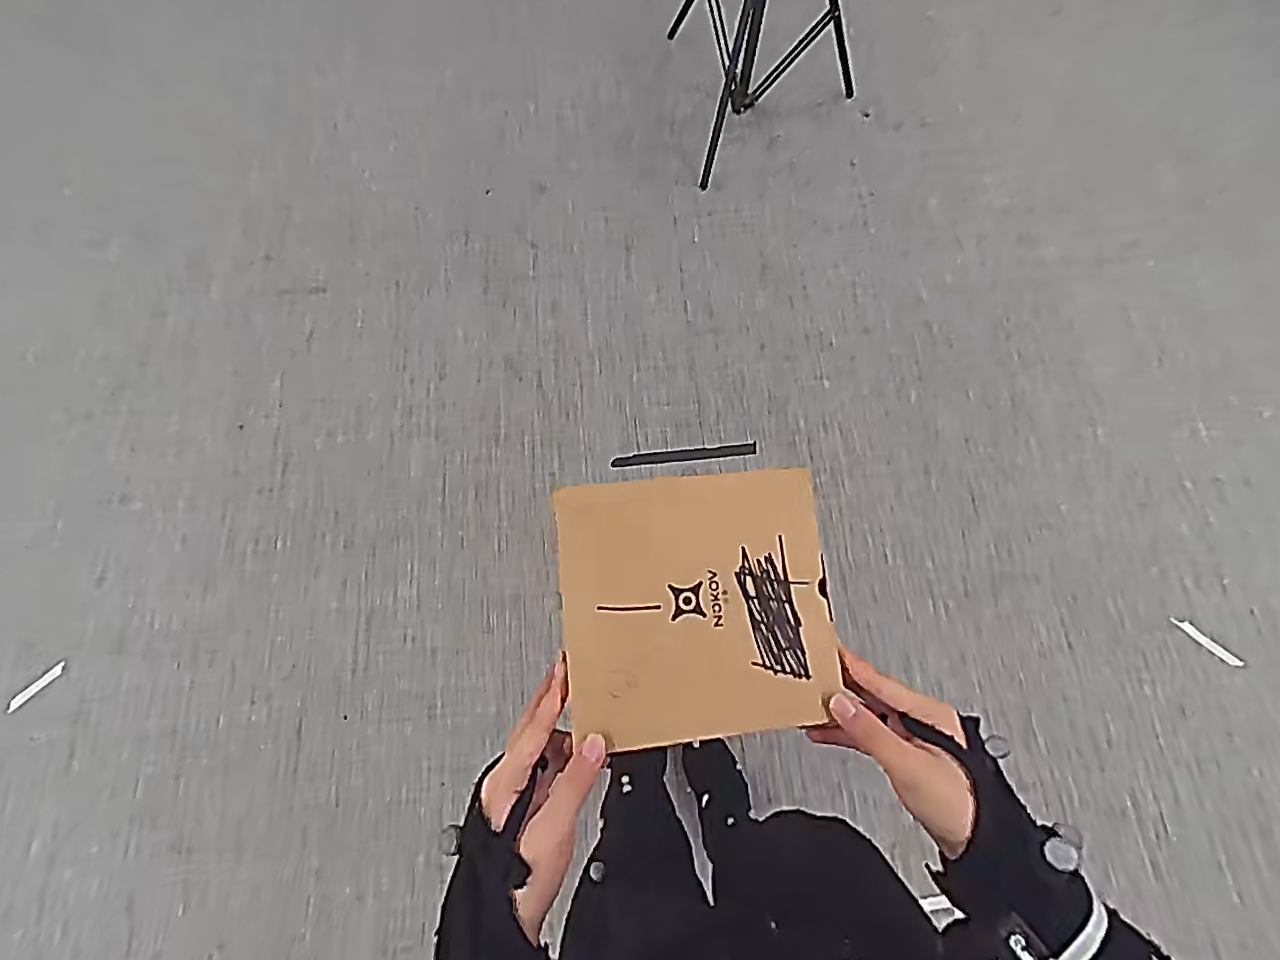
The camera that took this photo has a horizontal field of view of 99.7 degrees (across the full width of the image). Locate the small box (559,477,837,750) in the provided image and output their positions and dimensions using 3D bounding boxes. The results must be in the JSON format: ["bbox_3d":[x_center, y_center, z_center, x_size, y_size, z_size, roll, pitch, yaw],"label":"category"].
[{"bbox_3d":[0.029,0.096,0.434,0.179,0.176,0.168,-4,79,-6],"label":"small box"}]
